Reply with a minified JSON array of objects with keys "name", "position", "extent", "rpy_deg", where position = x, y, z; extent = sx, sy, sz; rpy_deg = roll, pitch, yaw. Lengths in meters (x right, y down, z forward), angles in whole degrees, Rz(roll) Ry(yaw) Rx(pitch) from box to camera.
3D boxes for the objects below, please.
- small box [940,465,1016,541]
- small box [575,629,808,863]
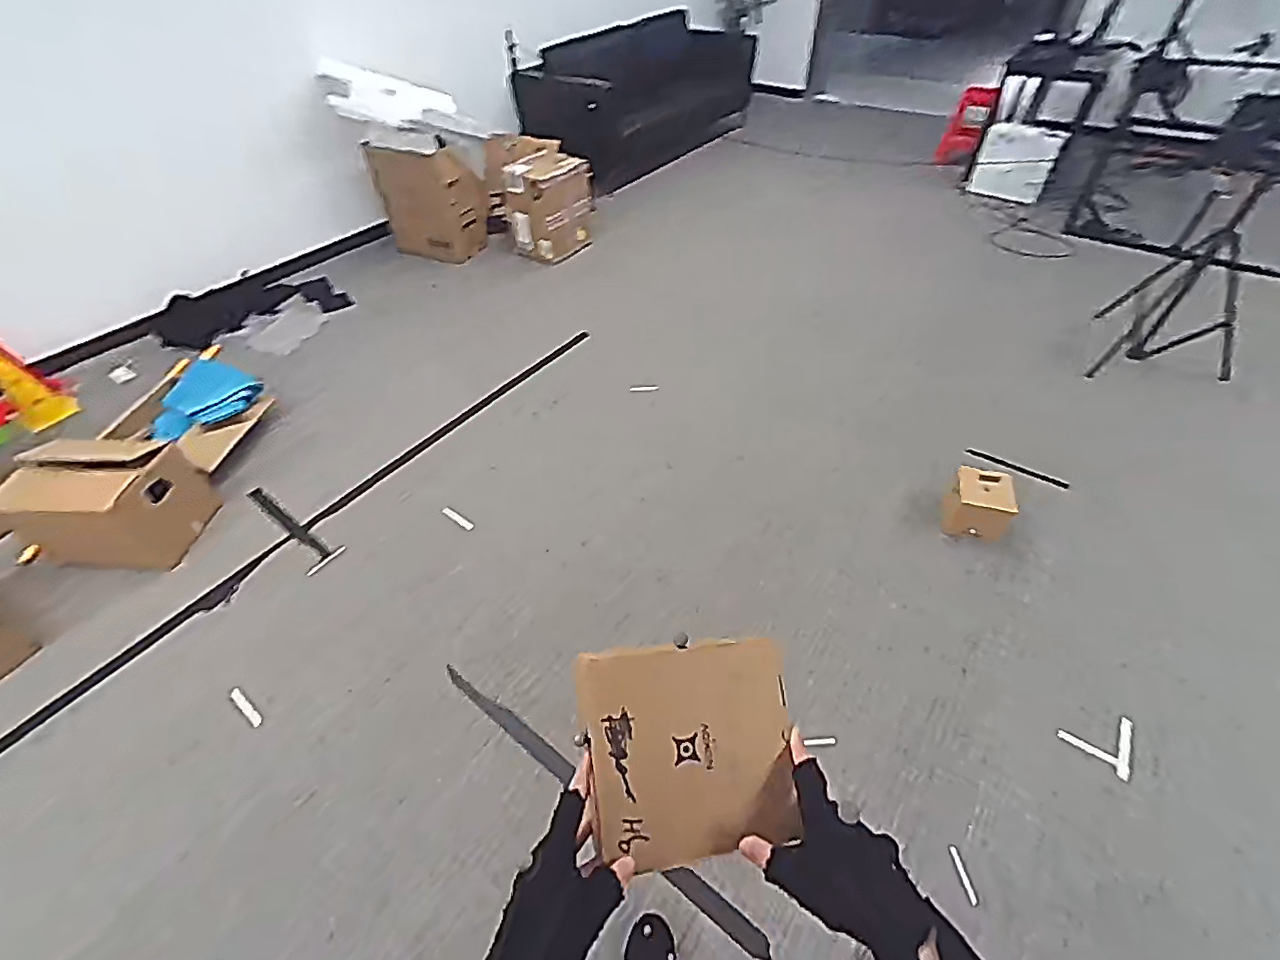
[{"name":"small box","position":[1.149,0.079,1.854],"extent":[0.168,0.176,0.179],"rpy_deg":[11,49,13]},{"name":"small box","position":[0.034,0.237,0.530],"extent":[0.179,0.176,0.168],"rpy_deg":[-3,74,-12]}]
